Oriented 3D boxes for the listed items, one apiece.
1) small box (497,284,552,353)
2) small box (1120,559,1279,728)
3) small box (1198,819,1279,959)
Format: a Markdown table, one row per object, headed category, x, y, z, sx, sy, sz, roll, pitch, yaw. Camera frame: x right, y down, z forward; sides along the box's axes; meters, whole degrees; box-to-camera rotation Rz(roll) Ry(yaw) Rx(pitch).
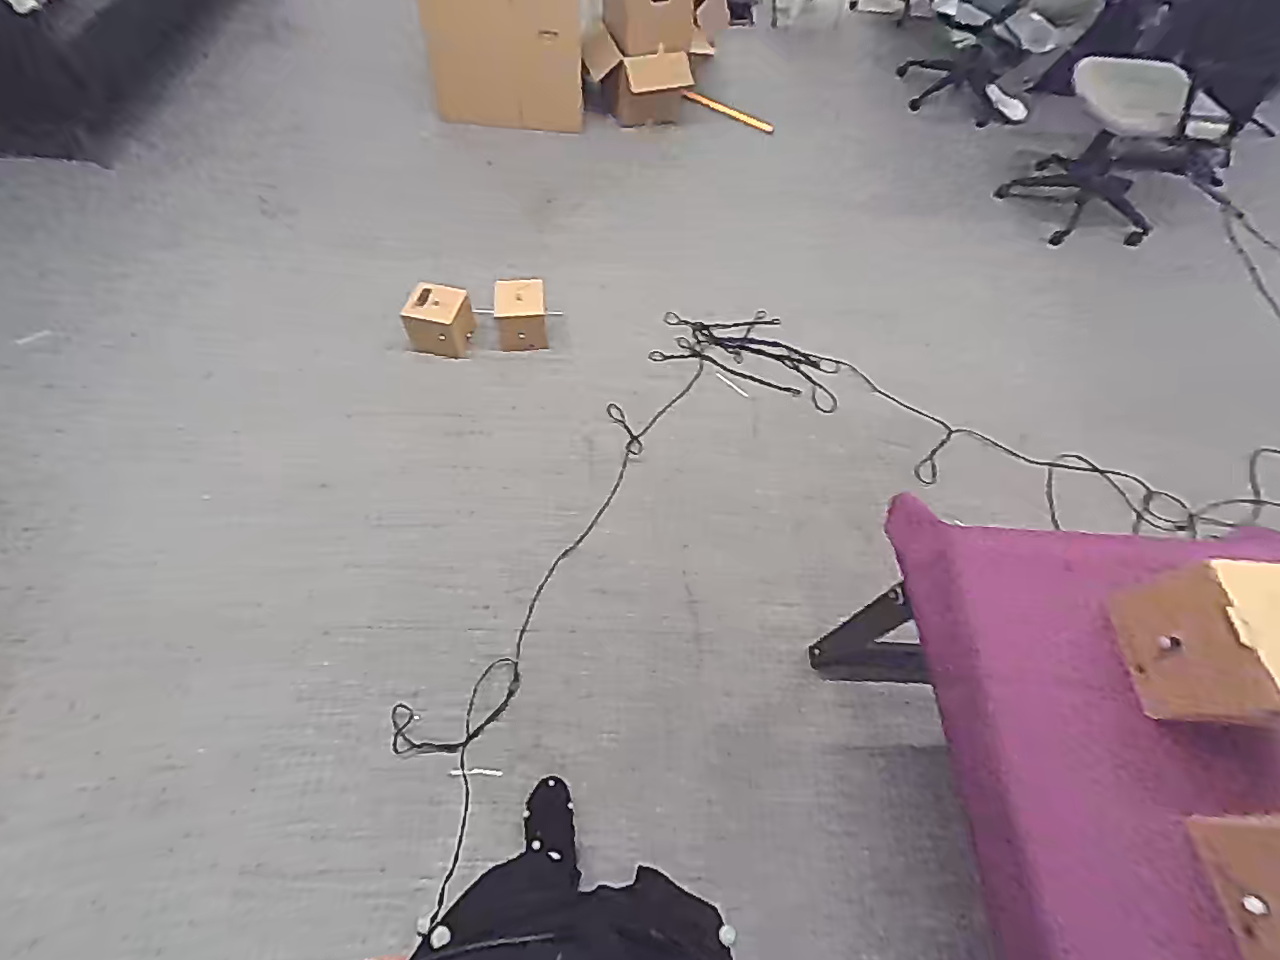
| category | x | y | z | sx | sy | sz | roll | pitch | yaw |
| --- | --- | --- | --- | --- | --- | --- | --- | --- | --- |
| small box | -0.405 | -0.565 | 1.914 | 0.168 | 0.176 | 0.179 | -4 | 60 | -5 |
| small box | 0.764 | 0.211 | 0.681 | 0.179 | 0.176 | 0.168 | 4 | 60 | 0 |
| small box | 0.752 | 0.442 | 0.544 | 0.179 | 0.176 | 0.168 | 0 | 59 | -2 |
